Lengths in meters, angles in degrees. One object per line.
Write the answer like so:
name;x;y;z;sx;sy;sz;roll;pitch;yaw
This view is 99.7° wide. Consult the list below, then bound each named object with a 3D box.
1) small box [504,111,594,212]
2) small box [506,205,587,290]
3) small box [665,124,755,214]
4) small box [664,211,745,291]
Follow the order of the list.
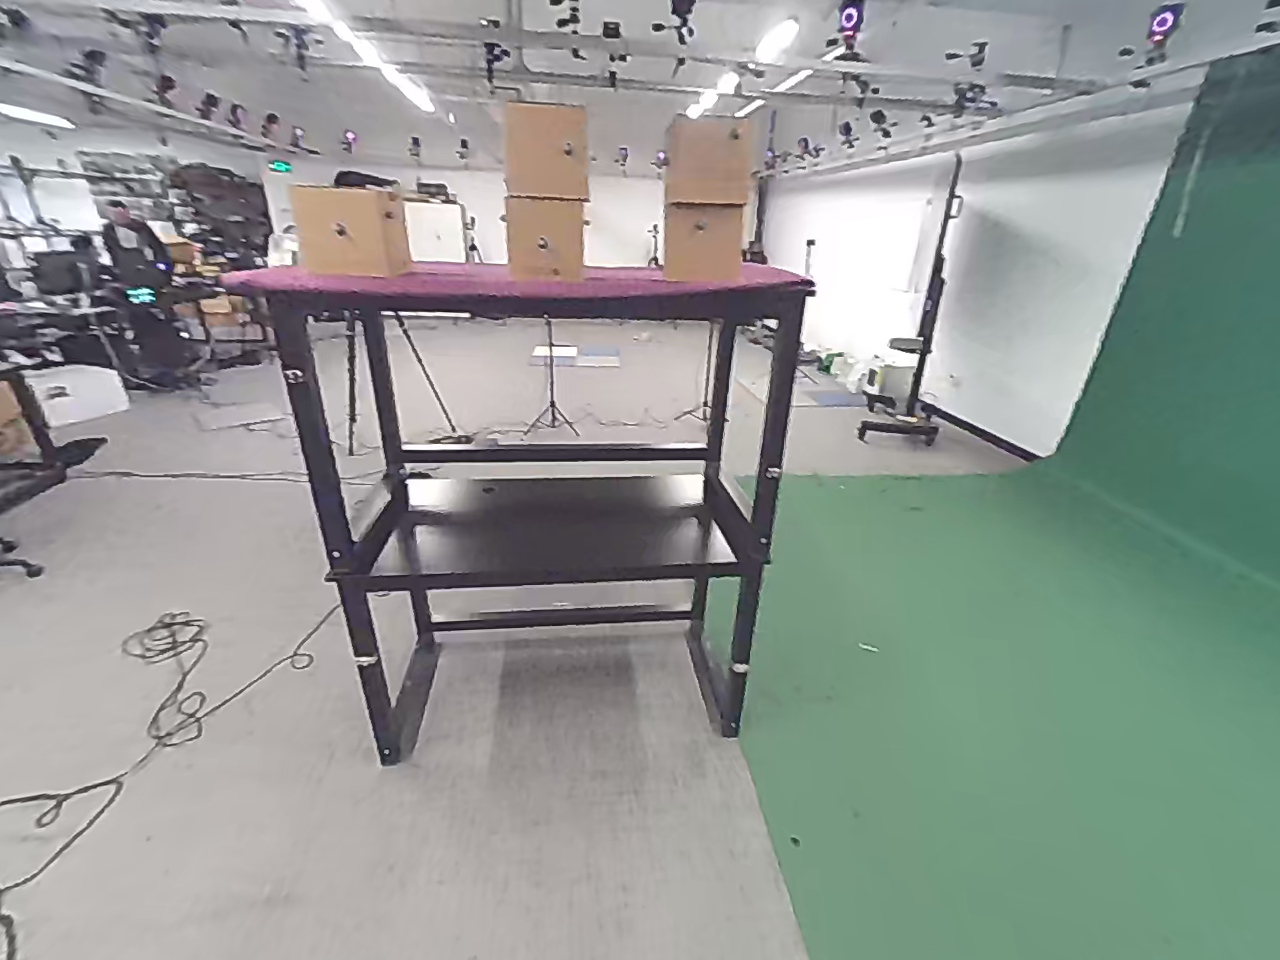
small box;-0.189;-0.676;1.167;0.179;0.176;0.168;0;23;-5
small box;-0.207;-0.533;1.243;0.168;0.176;0.179;1;24;-5
small box;0.152;-0.695;1.235;0.179;0.176;0.168;-1;23;-5
small box;0.149;-0.551;1.312;0.179;0.176;0.168;1;23;-1
